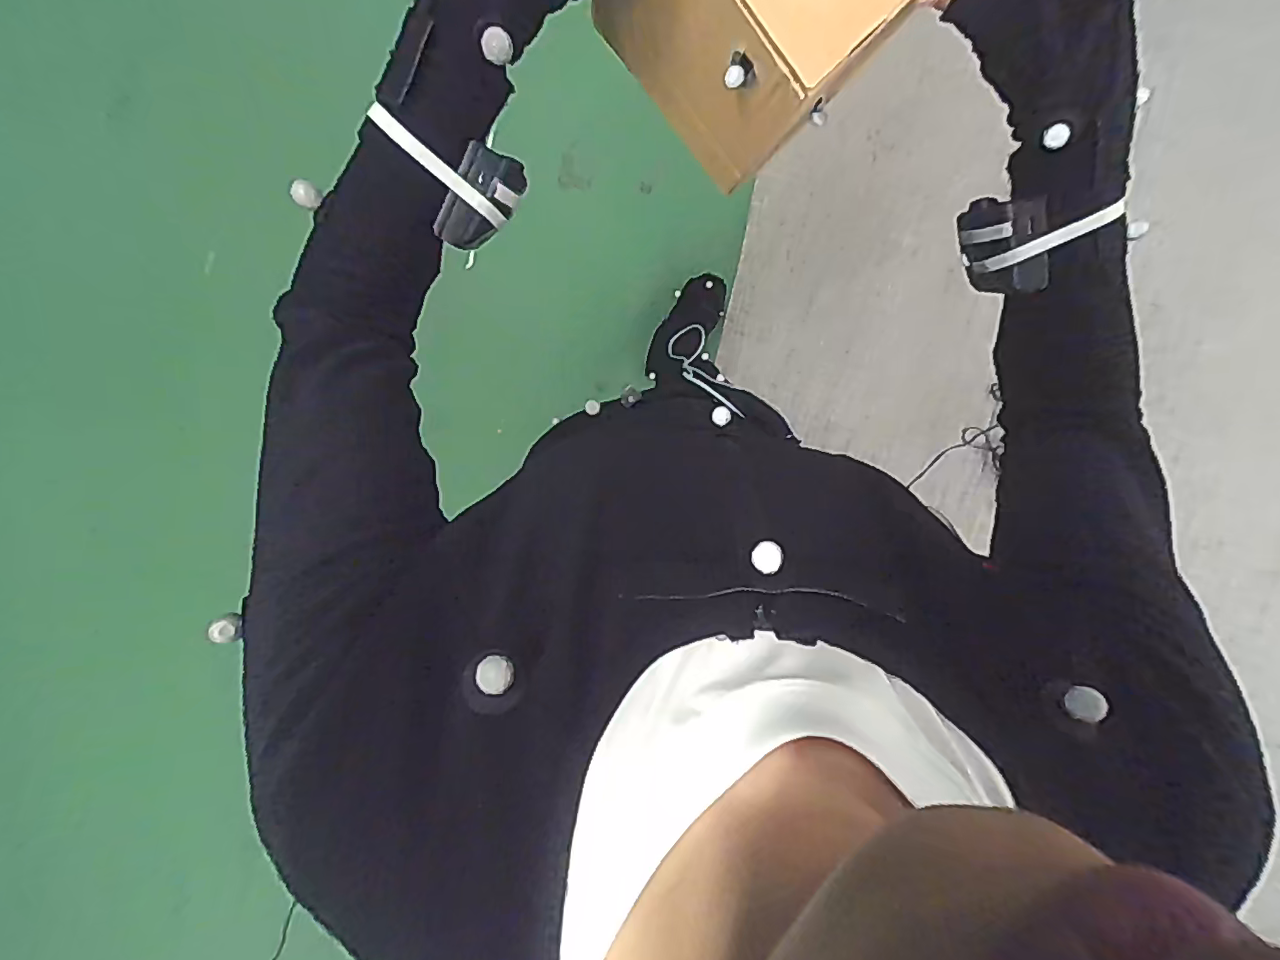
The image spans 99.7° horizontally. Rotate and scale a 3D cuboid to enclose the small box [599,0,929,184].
[{"bbox_3d":[0.086,-0.349,0.371,0.168,0.176,0.179,-42,103,1],"label":"small box"}]
